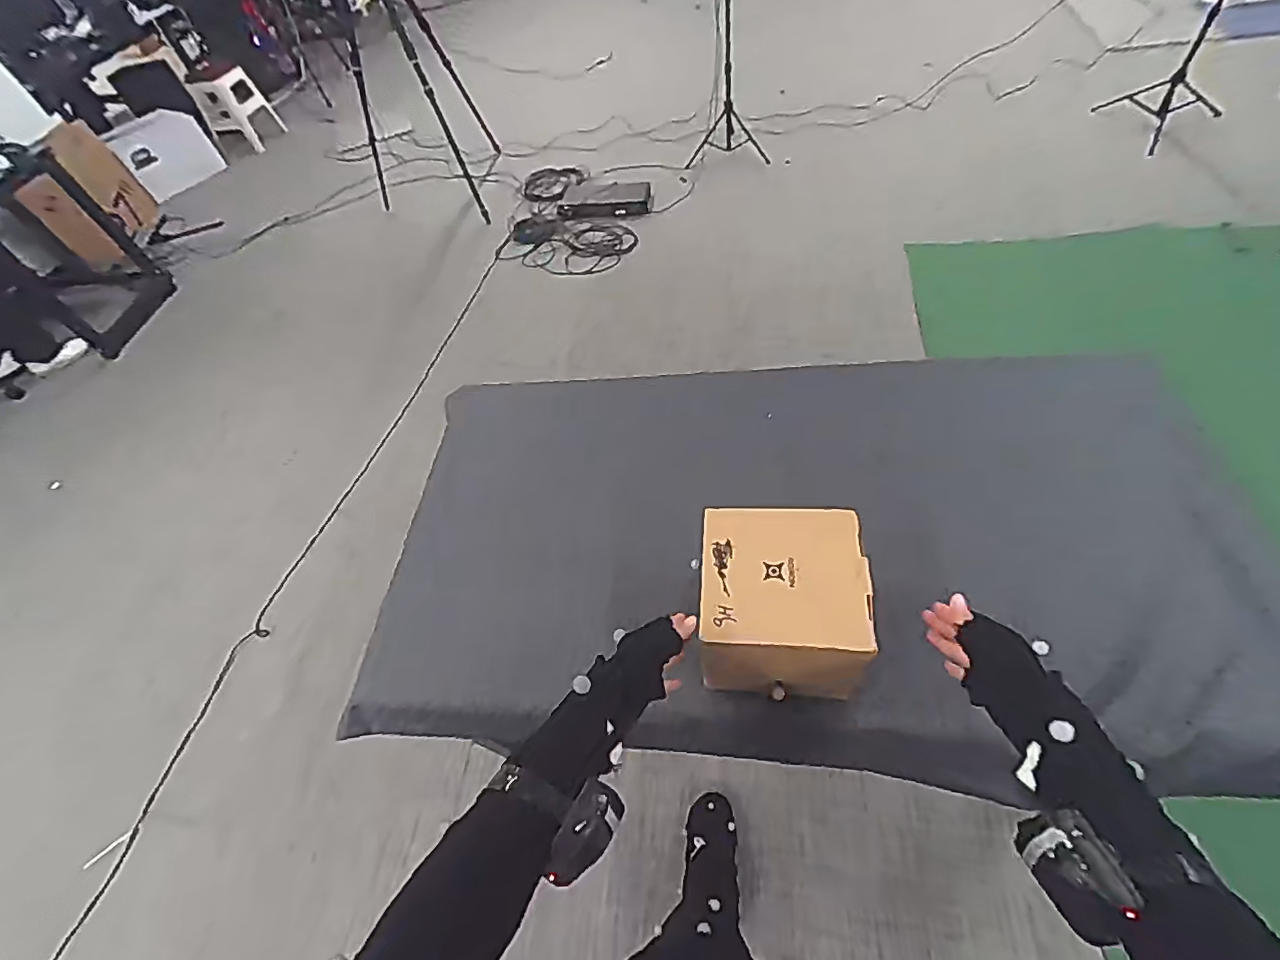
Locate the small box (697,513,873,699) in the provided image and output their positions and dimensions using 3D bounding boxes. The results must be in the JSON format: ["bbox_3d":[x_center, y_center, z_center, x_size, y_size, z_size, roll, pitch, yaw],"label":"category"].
[{"bbox_3d":[0.163,0.157,0.655,0.179,0.176,0.168,1,53,9],"label":"small box"}]
